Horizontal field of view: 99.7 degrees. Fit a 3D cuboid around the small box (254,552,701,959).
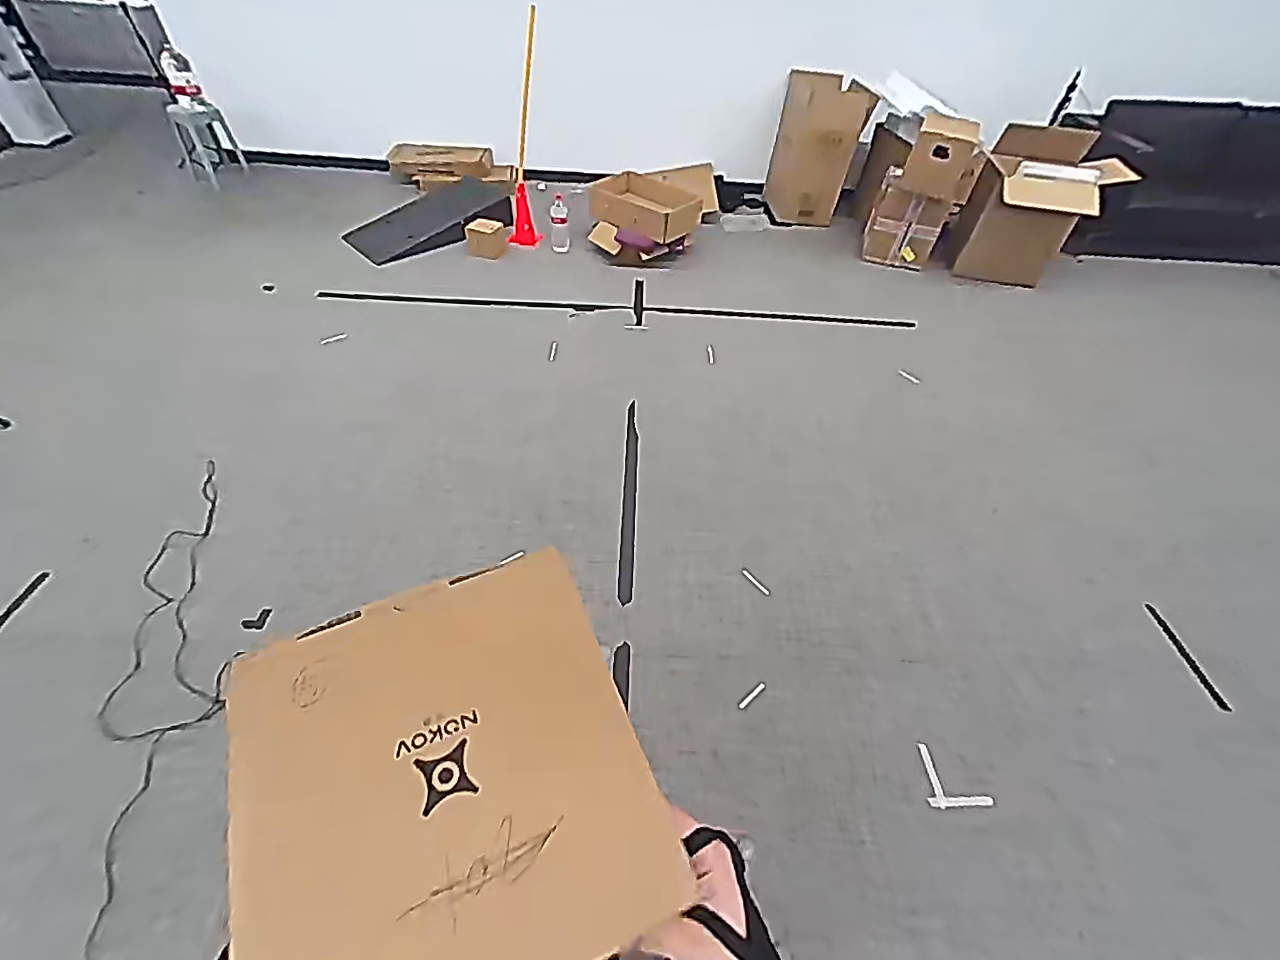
[{"bbox_3d":[-0.087,0.177,0.311,0.168,0.176,0.179,-20,57,-18],"label":"small box"}]
